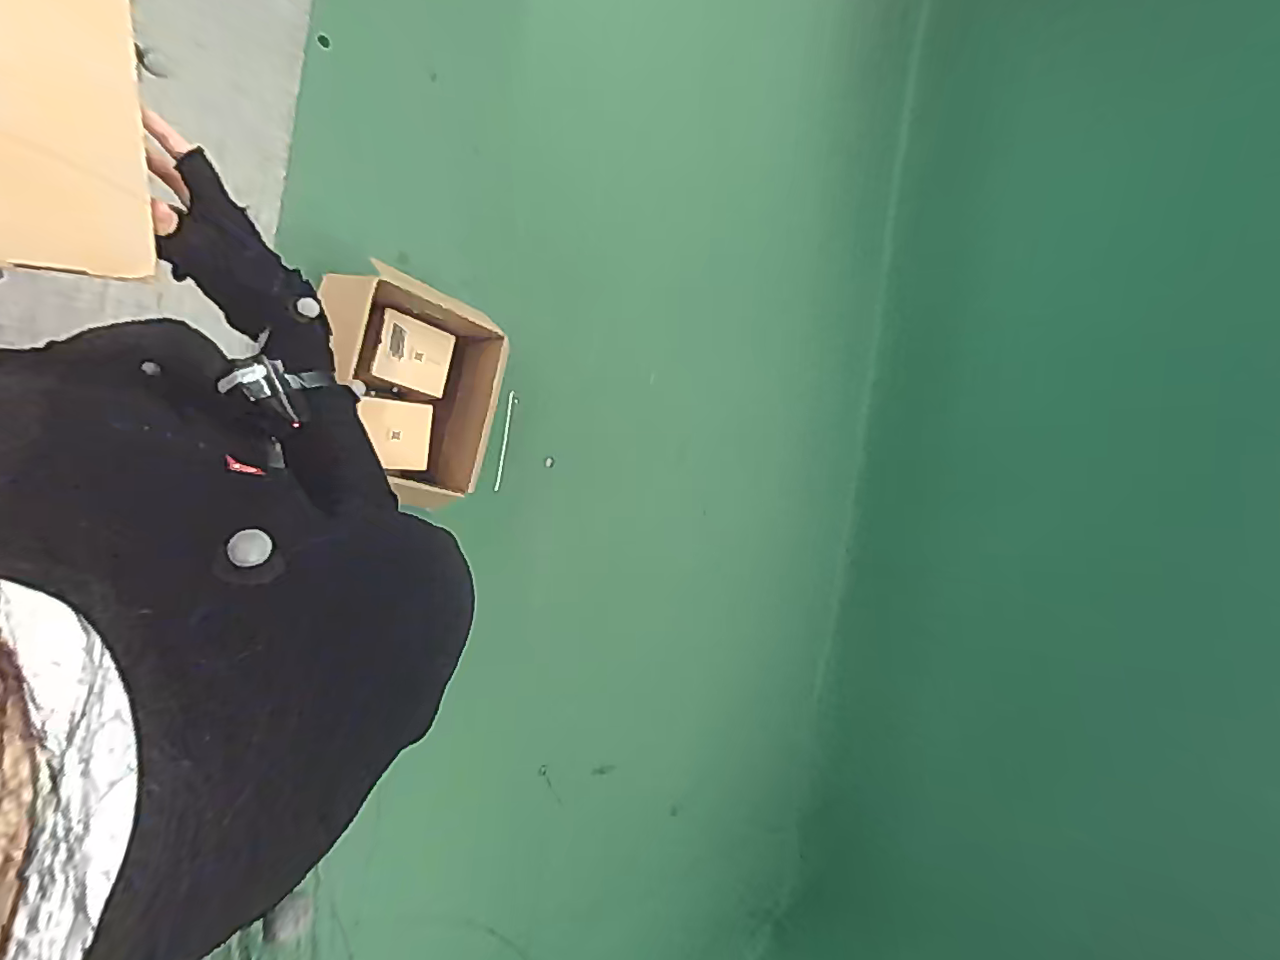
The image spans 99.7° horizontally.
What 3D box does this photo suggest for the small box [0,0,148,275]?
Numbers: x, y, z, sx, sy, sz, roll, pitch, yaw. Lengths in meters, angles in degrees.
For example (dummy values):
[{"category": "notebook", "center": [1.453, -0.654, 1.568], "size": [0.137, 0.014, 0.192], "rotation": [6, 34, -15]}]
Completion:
[{"category": "small box", "center": [-0.399, -0.222, 0.303], "size": [0.168, 0.176, 0.179], "rotation": [-7, 114, -41]}]
